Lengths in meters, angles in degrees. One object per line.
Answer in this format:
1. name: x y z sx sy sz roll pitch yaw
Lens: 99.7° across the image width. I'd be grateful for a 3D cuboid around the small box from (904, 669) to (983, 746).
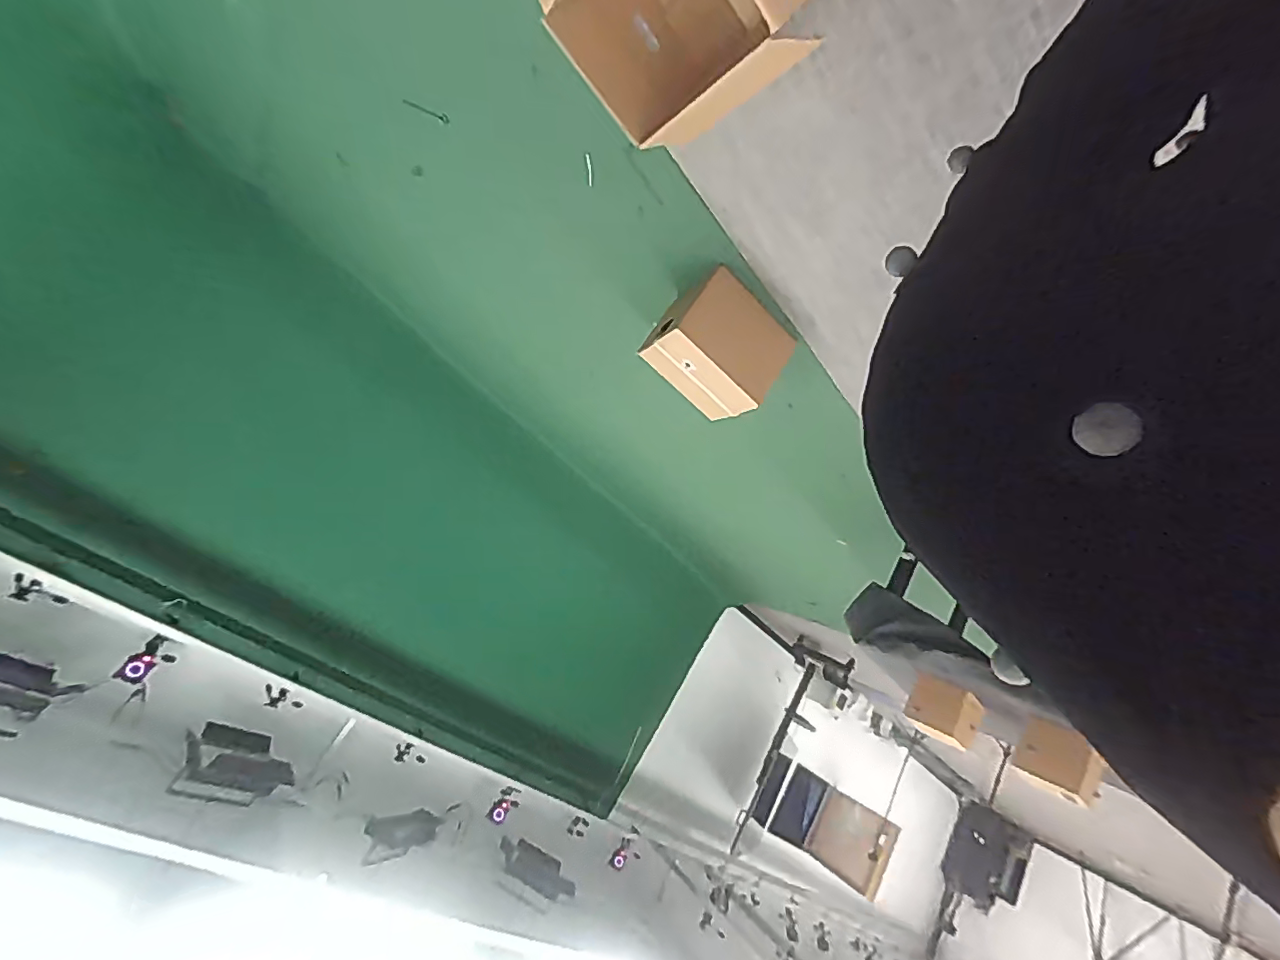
1. small box: 1.062 0.784 1.878 0.168 0.176 0.179 42 161 -30
